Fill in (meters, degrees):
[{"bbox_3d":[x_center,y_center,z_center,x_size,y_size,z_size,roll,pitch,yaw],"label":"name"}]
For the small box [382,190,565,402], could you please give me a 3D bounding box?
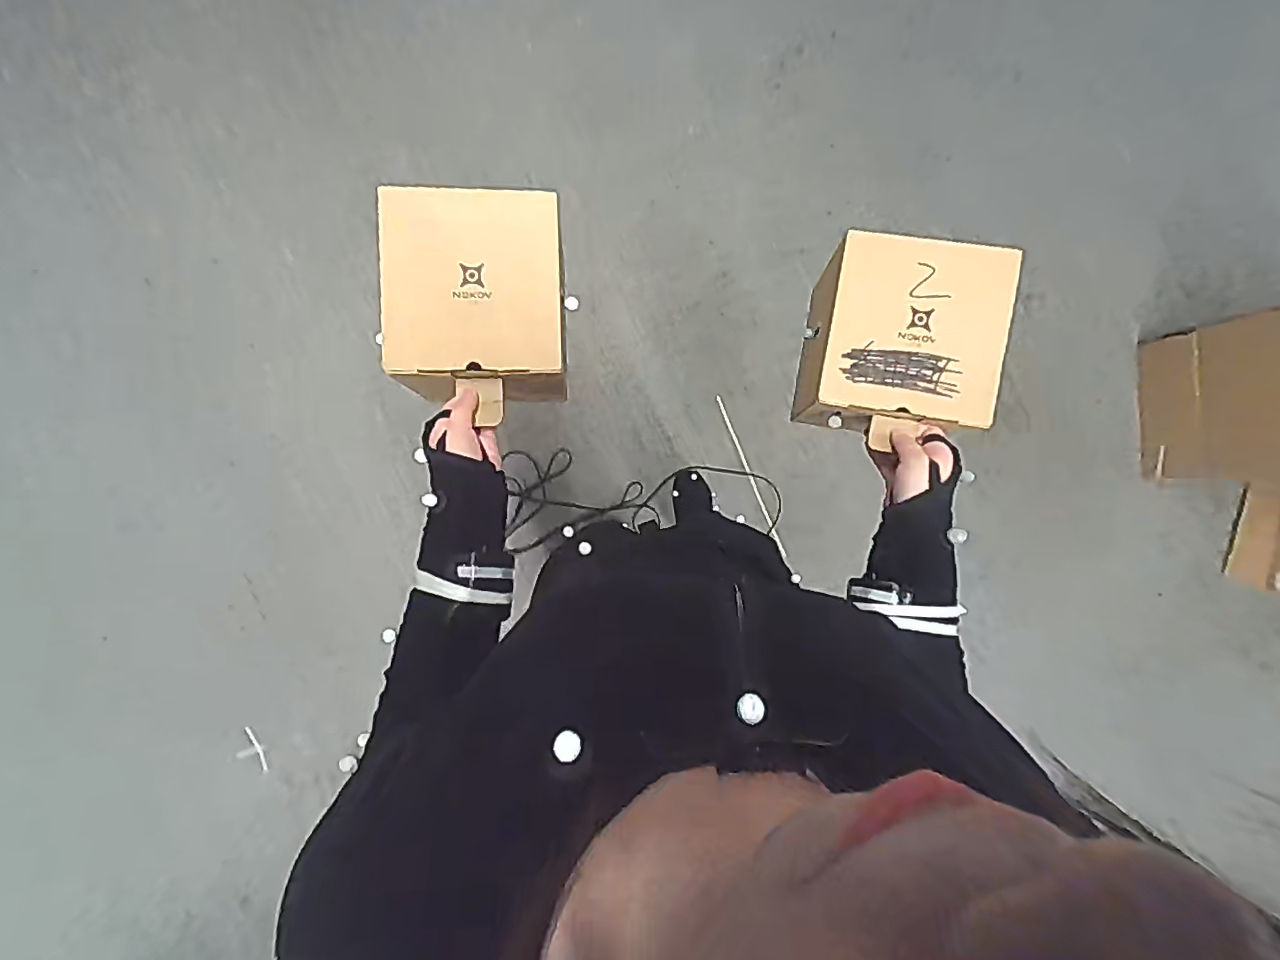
[{"bbox_3d":[-0.169,-0.187,0.595,0.168,0.176,0.179,-2,90,-6],"label":"small box"}]
